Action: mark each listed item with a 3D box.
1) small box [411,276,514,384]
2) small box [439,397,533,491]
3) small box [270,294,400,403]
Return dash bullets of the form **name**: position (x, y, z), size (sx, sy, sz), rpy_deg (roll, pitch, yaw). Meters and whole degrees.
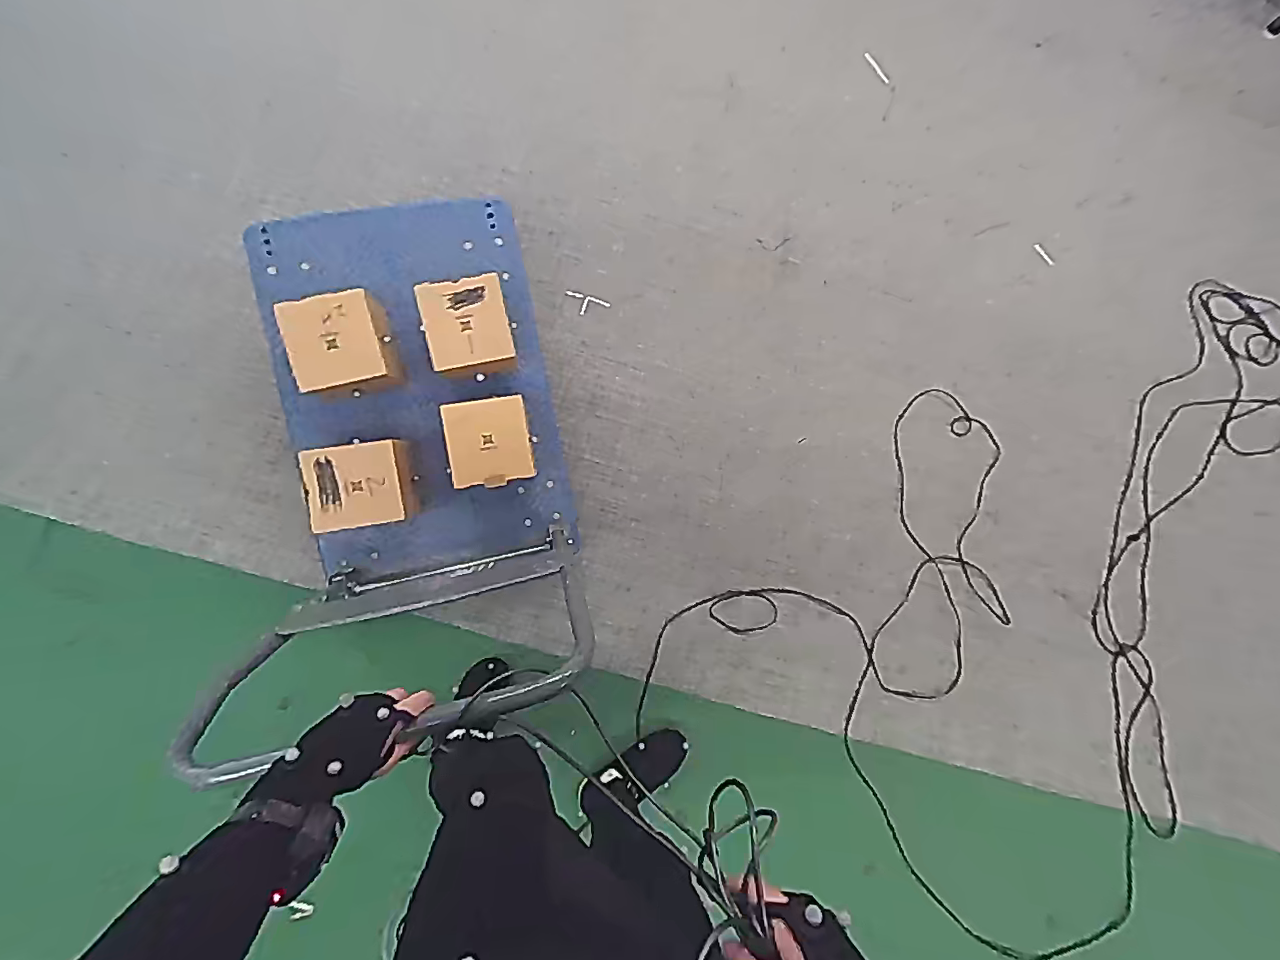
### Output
- **small box**: position (-0.376, -0.317, 1.172), size (0.168, 0.176, 0.179), rpy_deg (-14, 95, -9)
- **small box**: position (-0.332, -0.078, 1.191), size (0.168, 0.176, 0.179), rpy_deg (-11, 95, -10)
- **small box**: position (-0.623, -0.264, 1.129), size (0.168, 0.176, 0.179), rpy_deg (-16, 95, -10)
